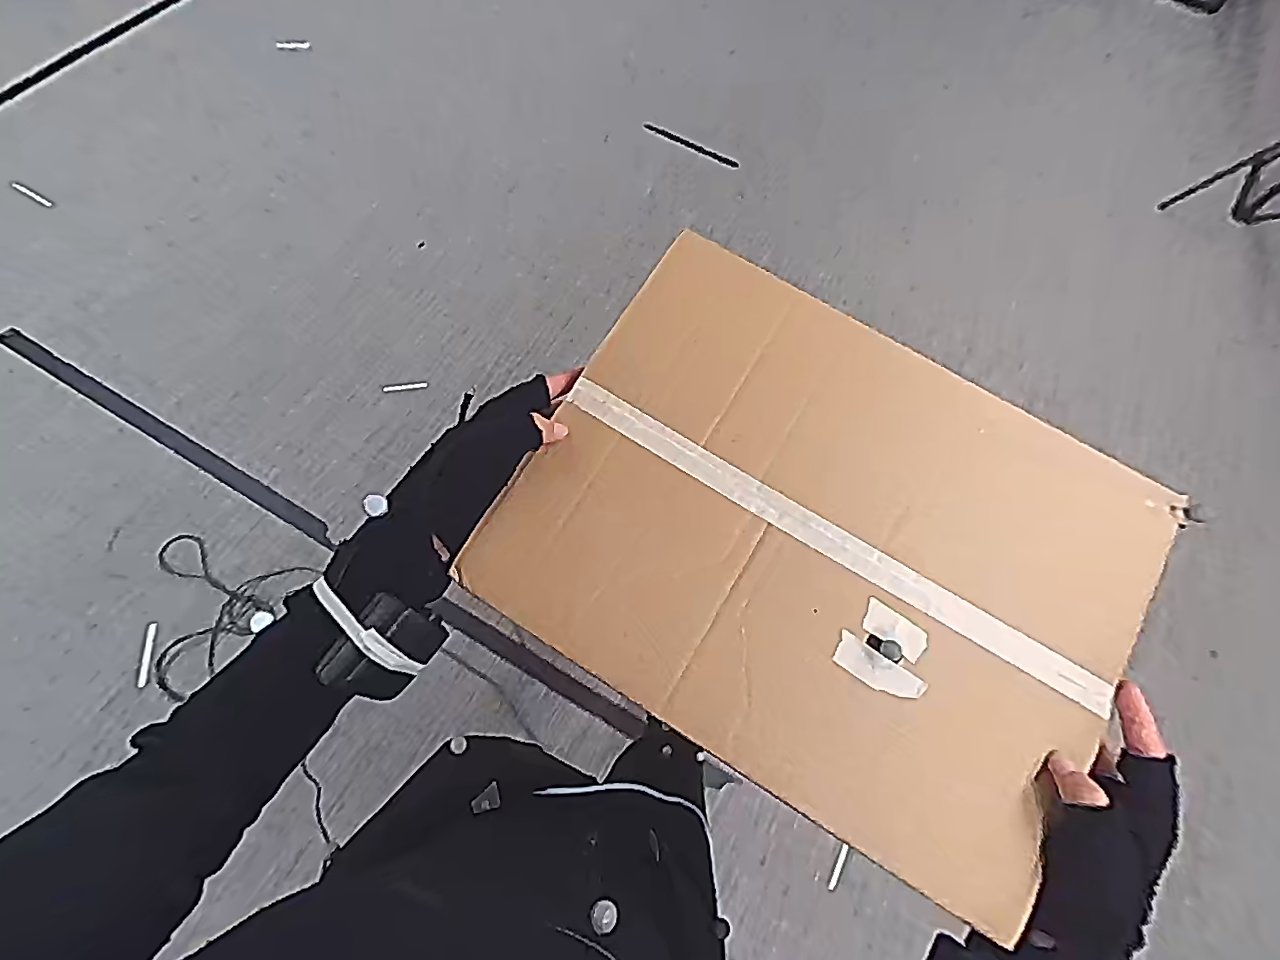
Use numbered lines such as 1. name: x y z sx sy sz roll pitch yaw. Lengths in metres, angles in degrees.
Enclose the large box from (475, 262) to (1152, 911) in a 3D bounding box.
1. large box: 0.126 0.078 0.530 0.408 0.320 0.320 31 79 6
